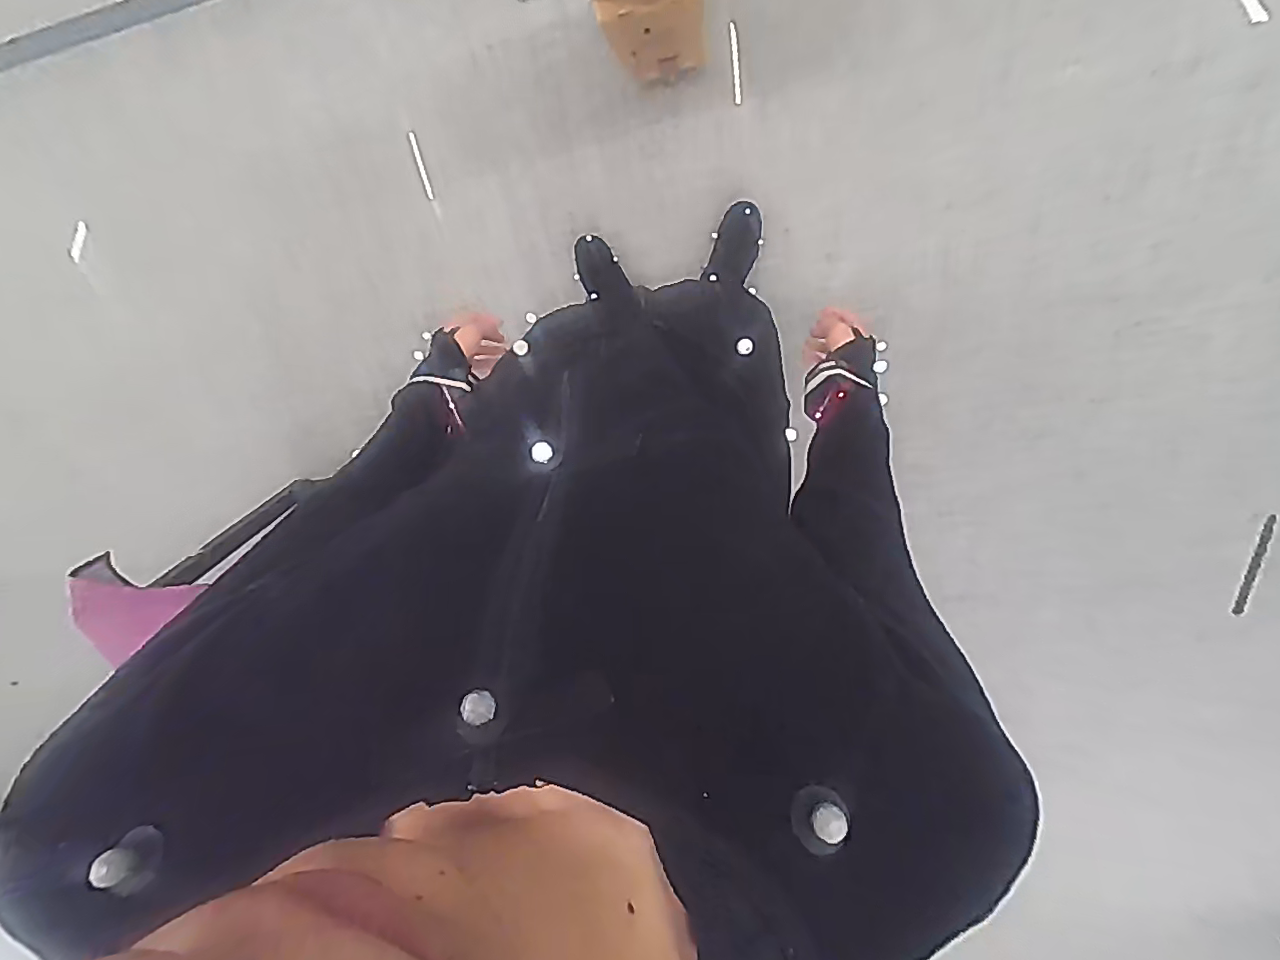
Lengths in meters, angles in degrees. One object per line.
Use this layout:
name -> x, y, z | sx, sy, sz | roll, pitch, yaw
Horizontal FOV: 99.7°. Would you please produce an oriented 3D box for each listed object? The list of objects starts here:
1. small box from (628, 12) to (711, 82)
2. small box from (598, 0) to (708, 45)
small box -> 0.050, -0.968, 1.126 | 0.168, 0.176, 0.179 | -10, 118, 12
small box -> 0.012, -0.817, 0.838 | 0.168, 0.176, 0.179 | -7, 118, 9
